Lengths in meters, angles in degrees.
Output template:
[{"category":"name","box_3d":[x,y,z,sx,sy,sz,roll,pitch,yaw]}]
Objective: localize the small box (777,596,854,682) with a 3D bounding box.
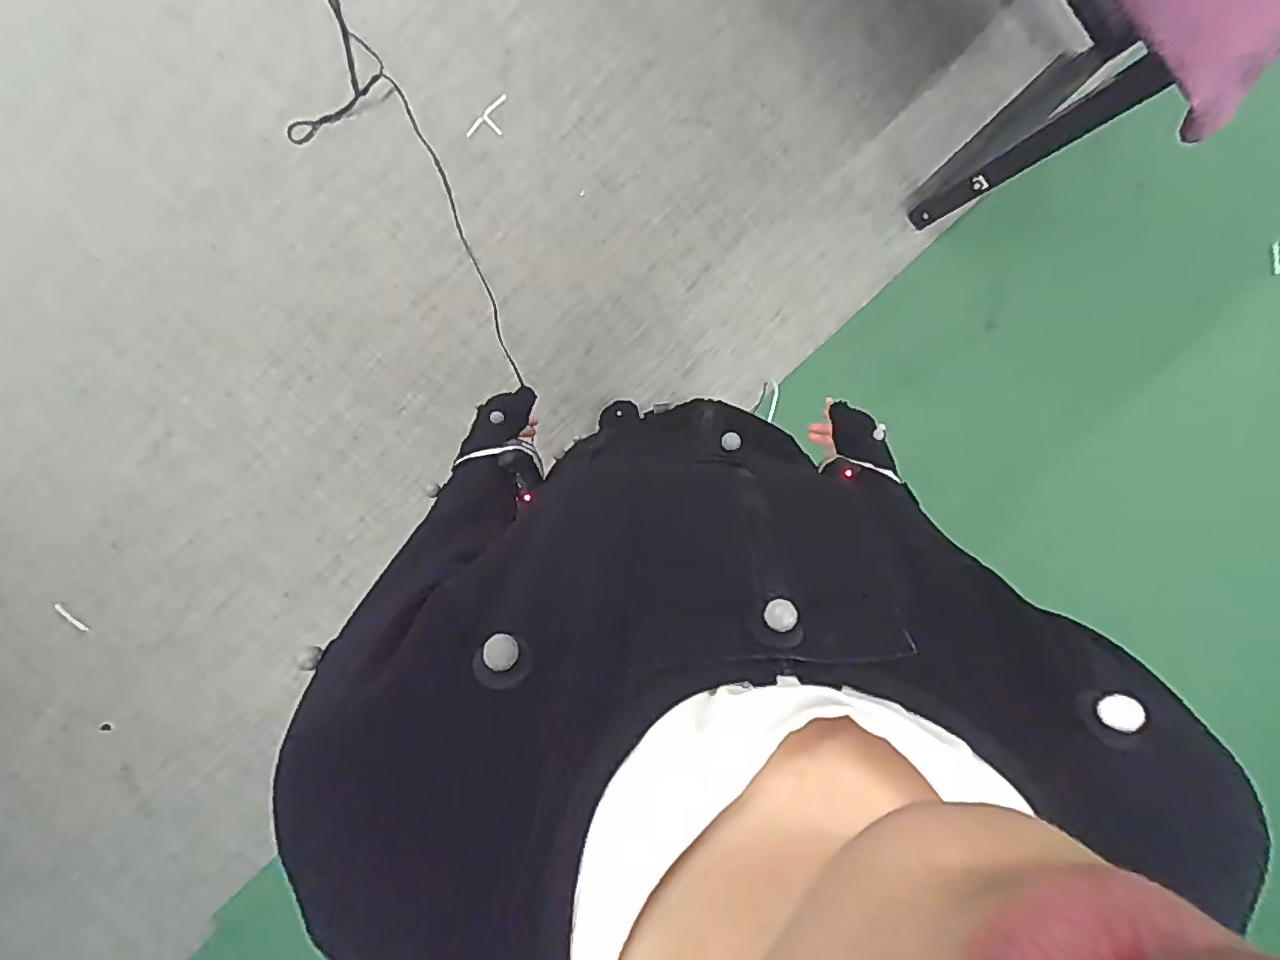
[{"category":"small box","box_3d":[0.453,0.416,1.303,0.179,0.176,0.168,-41,100,5]}]

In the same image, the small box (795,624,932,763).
[{"category":"small box","box_3d":[0.461,0.440,1.144,0.179,0.176,0.168,-44,98,6]}]

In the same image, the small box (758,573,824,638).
[{"category":"small box","box_3d":[0.450,0.383,1.466,0.168,0.176,0.179,-43,98,5]}]
